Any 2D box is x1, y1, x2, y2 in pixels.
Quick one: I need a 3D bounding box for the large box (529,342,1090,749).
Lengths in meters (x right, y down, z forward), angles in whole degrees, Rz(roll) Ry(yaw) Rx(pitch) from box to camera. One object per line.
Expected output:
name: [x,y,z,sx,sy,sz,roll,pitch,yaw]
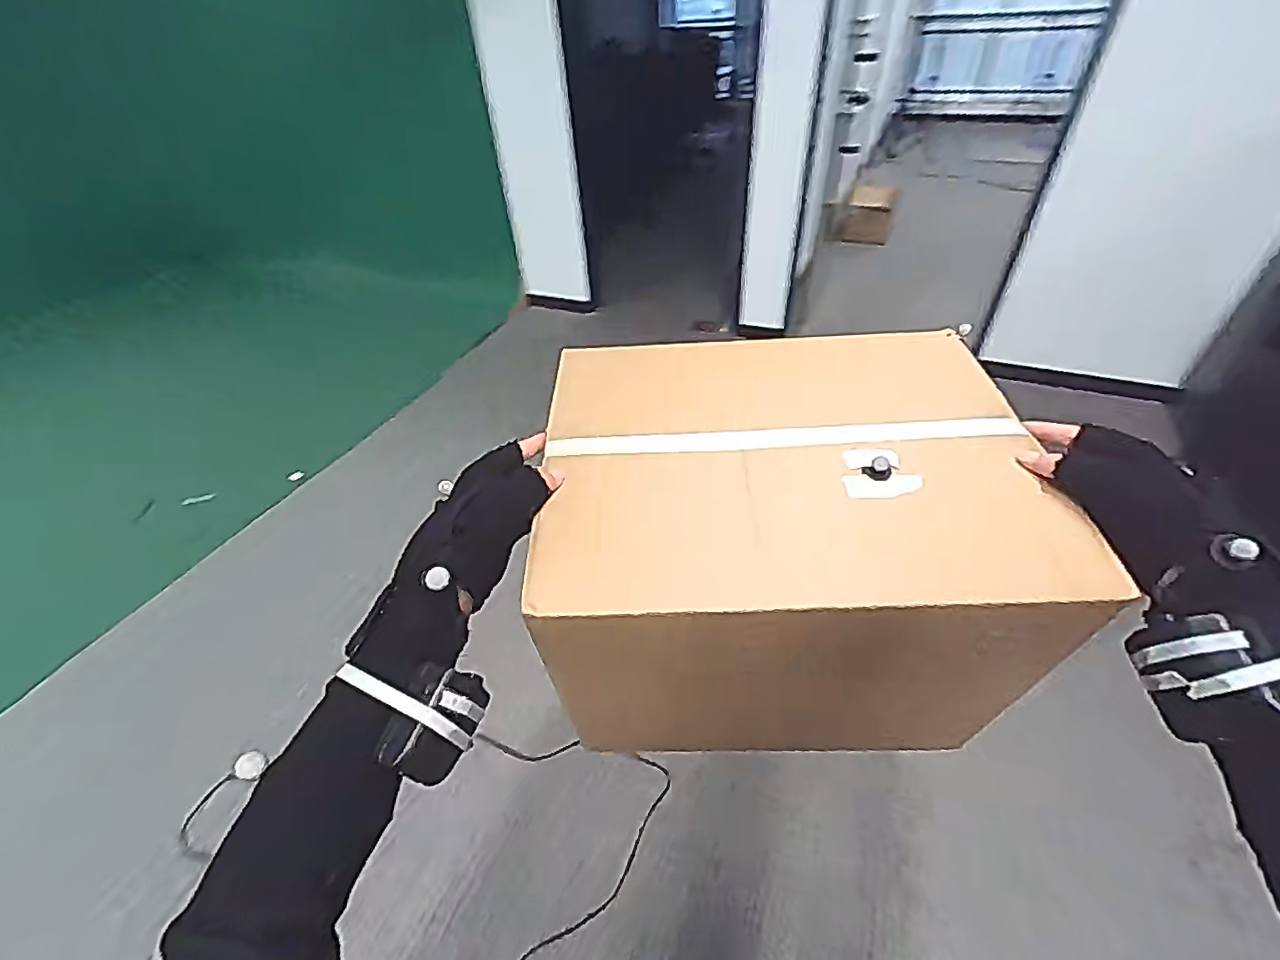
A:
large box: [0.119,0.075,0.586,0.408,0.320,0.320,-2,47,1]
